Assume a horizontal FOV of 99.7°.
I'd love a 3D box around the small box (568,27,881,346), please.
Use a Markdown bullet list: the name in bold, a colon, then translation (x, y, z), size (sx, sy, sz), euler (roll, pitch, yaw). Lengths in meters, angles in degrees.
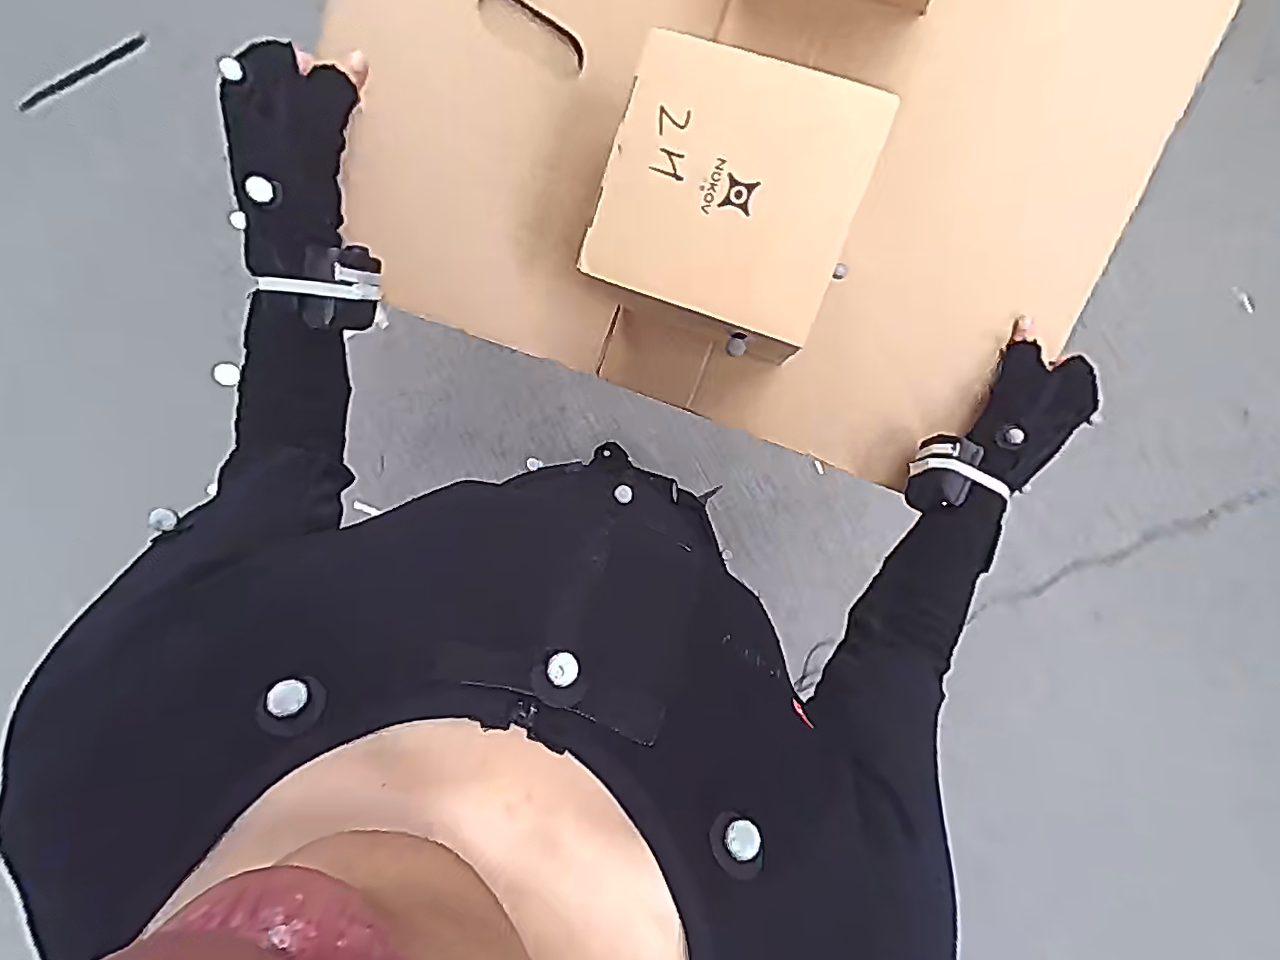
- **small box**: translation (0.066, -0.219, 0.455), size (0.179, 0.176, 0.168), euler (21, 102, 7)
